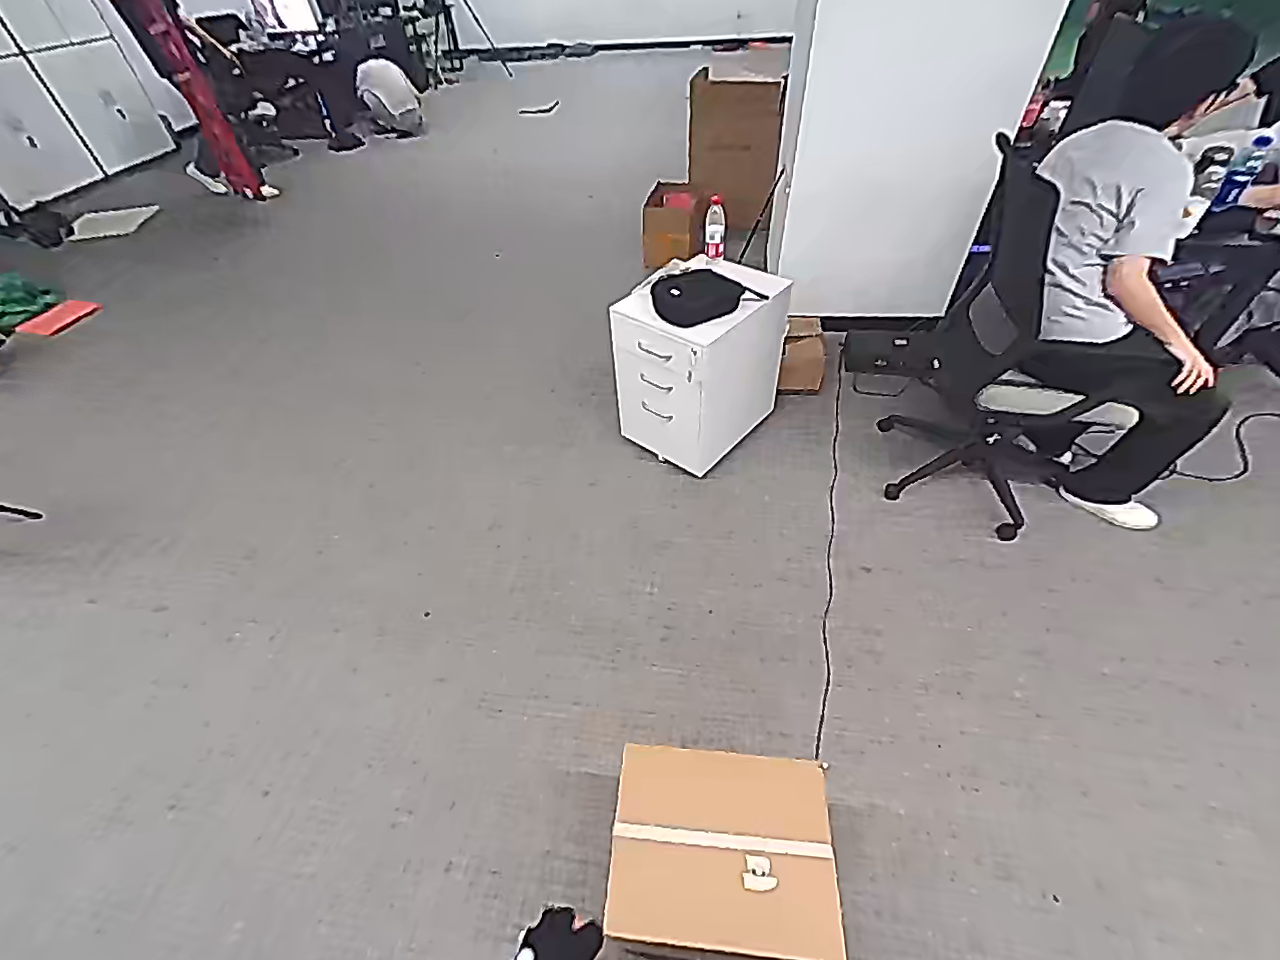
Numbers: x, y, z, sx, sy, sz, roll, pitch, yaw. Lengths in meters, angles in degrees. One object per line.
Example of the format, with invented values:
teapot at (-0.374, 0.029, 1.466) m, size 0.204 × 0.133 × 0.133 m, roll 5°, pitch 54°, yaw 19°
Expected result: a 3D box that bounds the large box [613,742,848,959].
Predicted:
large box at (0.168, 0.772, 1.117) m, size 0.408 × 0.320 × 0.320 m, roll 3°, pitch 47°, yaw 6°
